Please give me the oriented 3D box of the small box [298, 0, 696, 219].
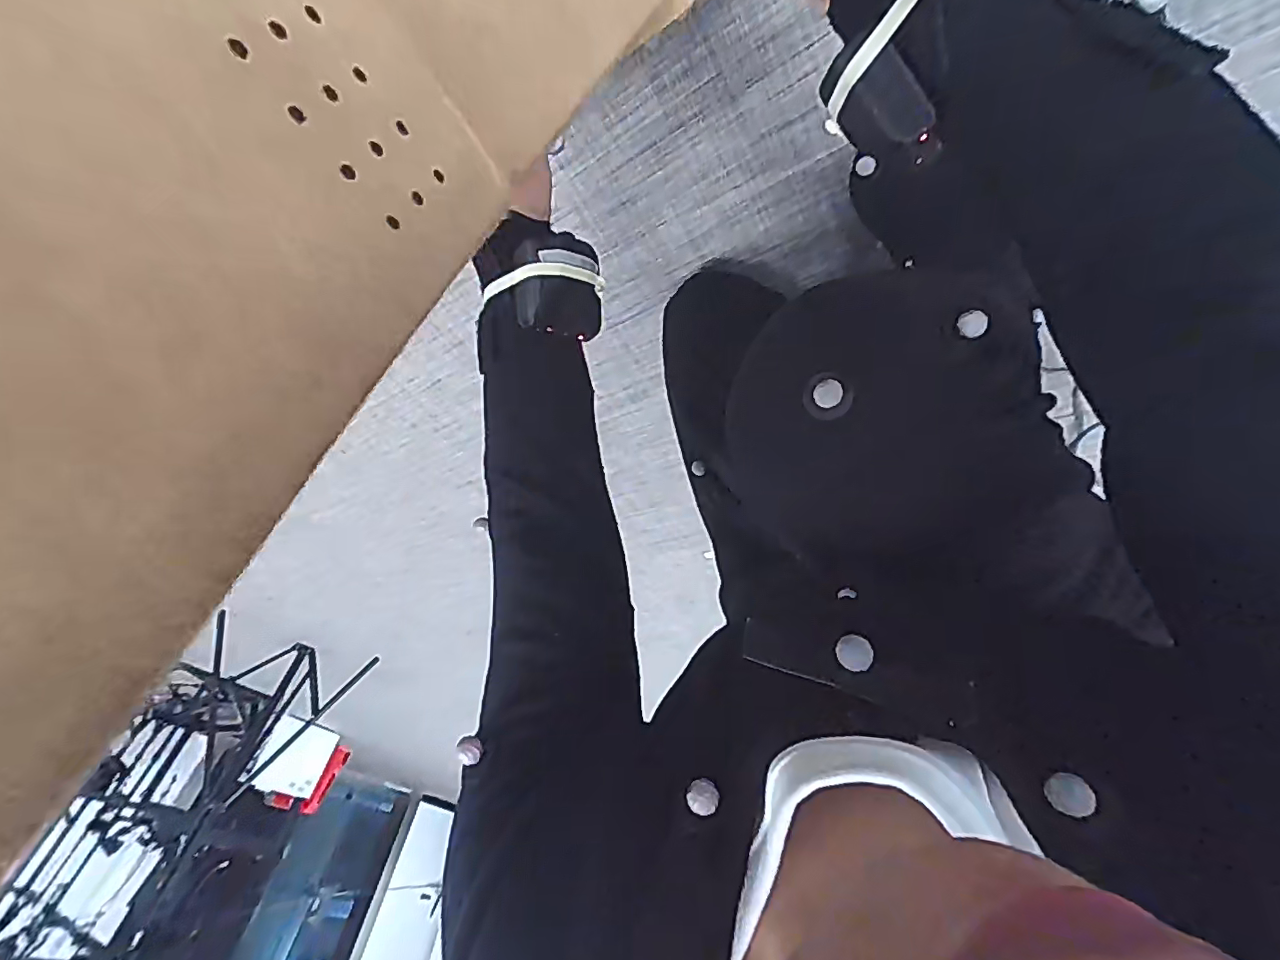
[{"bbox_3d":[-0.079,-0.266,0.241,0.179,0.176,0.168,-14,135,33],"label":"small box"}]
